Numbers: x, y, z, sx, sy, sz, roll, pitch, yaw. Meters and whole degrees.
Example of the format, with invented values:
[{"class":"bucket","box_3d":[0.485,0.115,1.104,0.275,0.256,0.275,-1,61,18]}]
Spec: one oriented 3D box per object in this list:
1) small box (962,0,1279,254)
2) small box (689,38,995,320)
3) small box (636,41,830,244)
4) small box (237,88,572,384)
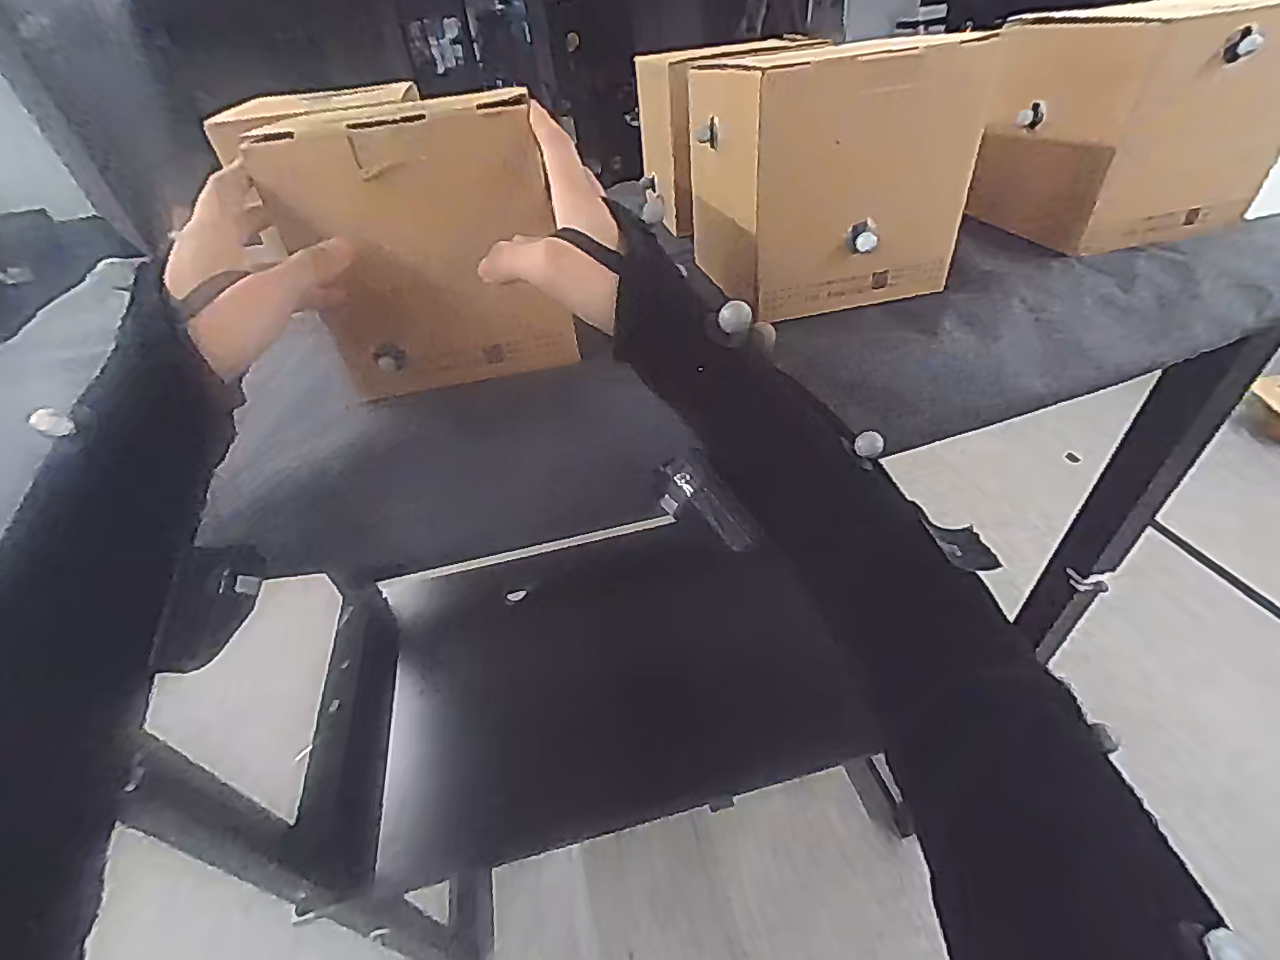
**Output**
[{"class":"small box","box_3d":[0.439,-0.324,0.500,0.168,0.176,0.179,-11,39,-3]},{"class":"small box","box_3d":[0.142,-0.252,0.455,0.168,0.176,0.179,-12,39,-5]},{"class":"small box","box_3d":[0.104,-0.404,0.648,0.179,0.176,0.168,-15,39,-4]},{"class":"small box","box_3d":[-0.152,-0.185,0.420,0.168,0.176,0.179,-11,39,-4]}]
